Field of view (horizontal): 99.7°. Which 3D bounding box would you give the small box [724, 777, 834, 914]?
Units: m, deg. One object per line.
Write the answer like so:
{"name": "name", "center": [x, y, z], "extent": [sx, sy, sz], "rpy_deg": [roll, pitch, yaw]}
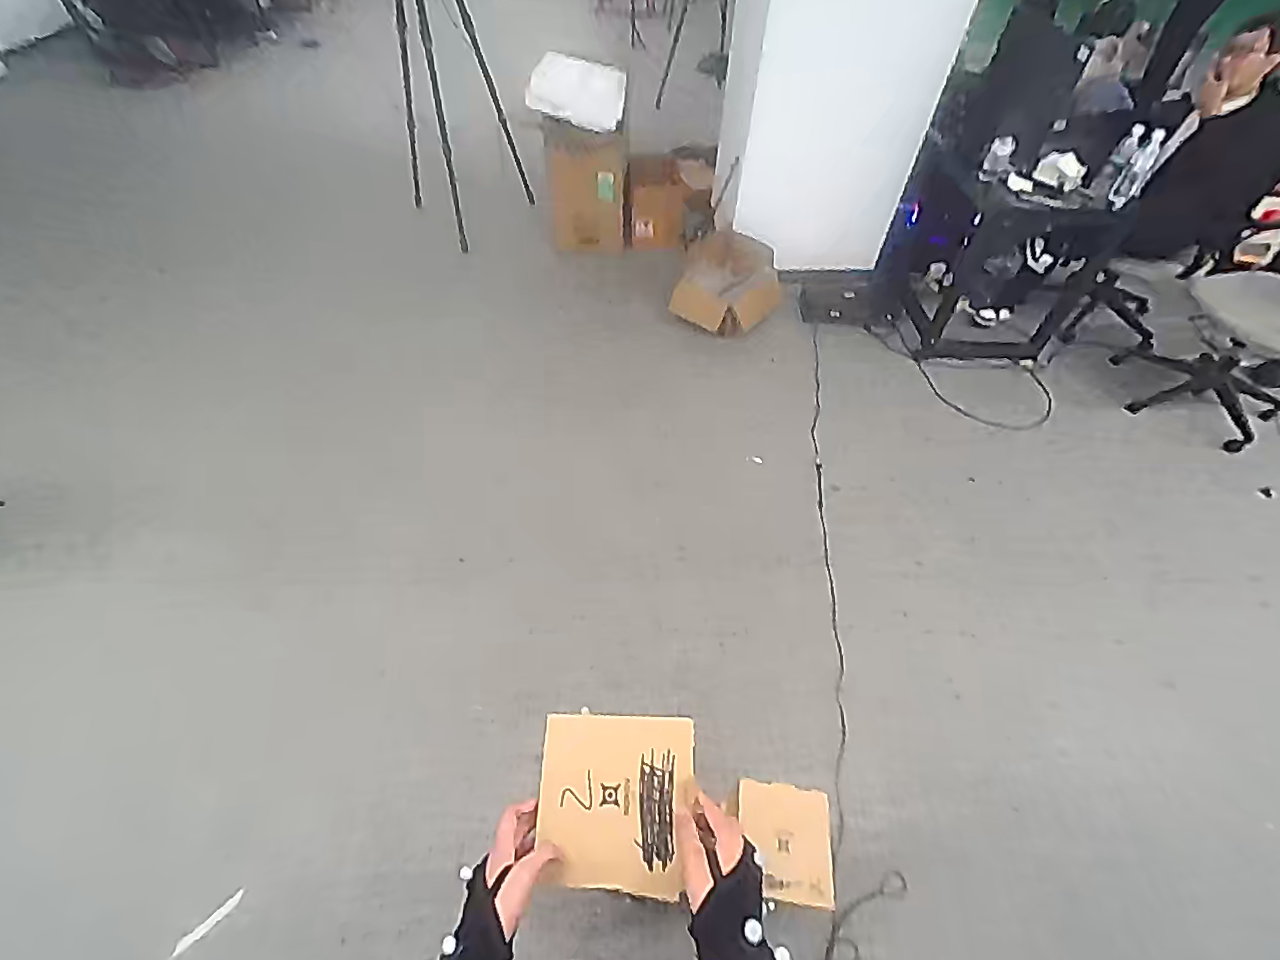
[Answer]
{"name": "small box", "center": [0.253, 0.686, 1.014], "extent": [0.168, 0.176, 0.179], "rpy_deg": [8, 50, 5]}

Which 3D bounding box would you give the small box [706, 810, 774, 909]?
{"name": "small box", "center": [0.249, 0.891, 1.268], "extent": [0.168, 0.176, 0.179], "rpy_deg": [1, 51, 0]}

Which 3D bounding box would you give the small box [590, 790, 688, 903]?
{"name": "small box", "center": [0.000, 0.774, 1.142], "extent": [0.179, 0.176, 0.168], "rpy_deg": [8, 51, 5]}

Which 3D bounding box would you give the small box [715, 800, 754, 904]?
{"name": "small box", "center": [0.253, 0.790, 1.142], "extent": [0.179, 0.176, 0.168], "rpy_deg": [2, 51, 1]}
